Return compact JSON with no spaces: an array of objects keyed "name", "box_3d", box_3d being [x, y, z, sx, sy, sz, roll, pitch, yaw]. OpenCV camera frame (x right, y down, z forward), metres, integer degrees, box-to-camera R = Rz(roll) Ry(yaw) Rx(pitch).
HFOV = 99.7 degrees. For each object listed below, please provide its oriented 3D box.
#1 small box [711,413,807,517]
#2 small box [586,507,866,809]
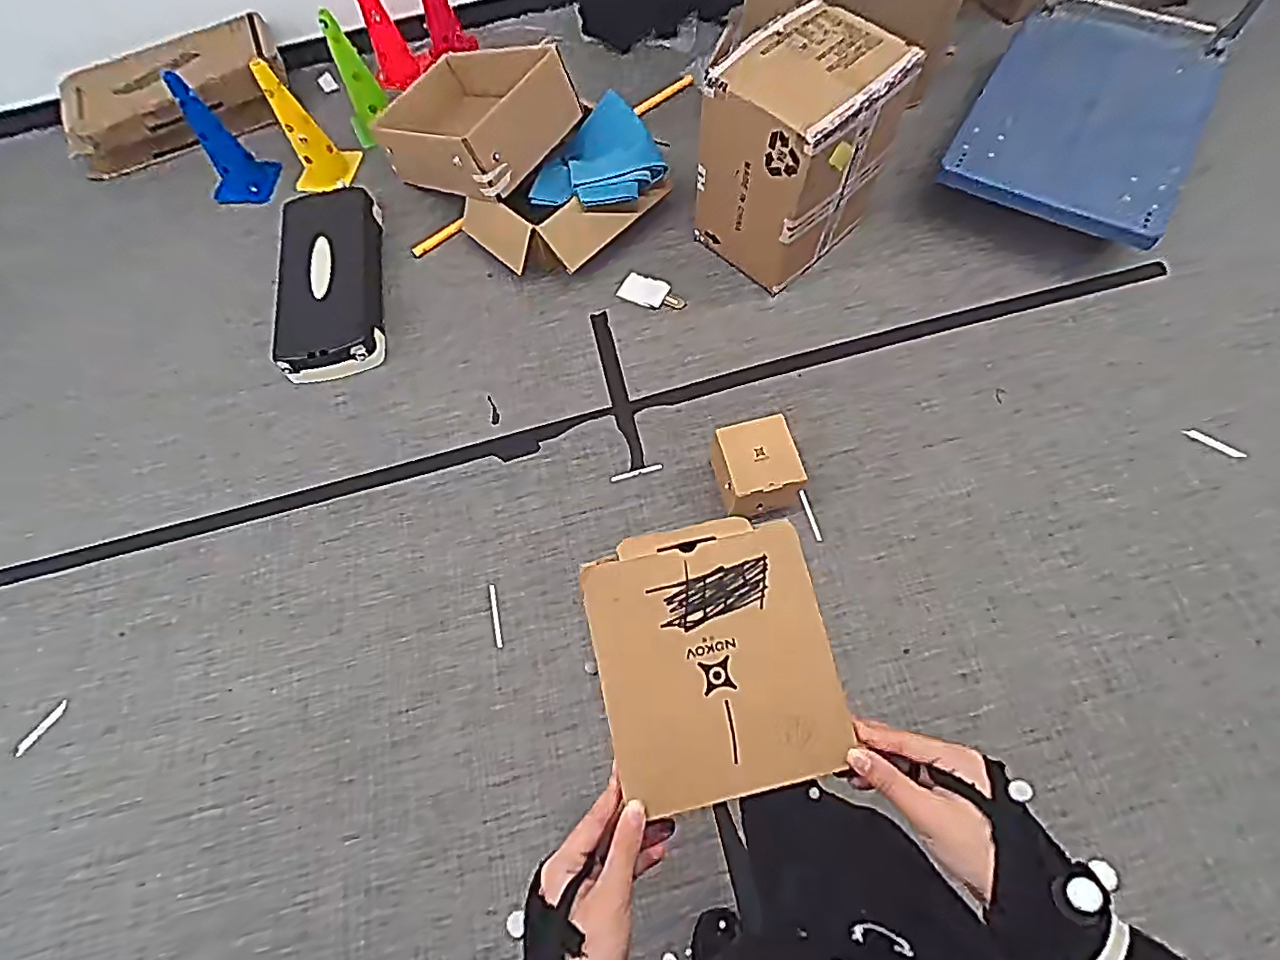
[{"name":"small box","box_3d":[0.275,-0.032,1.298,0.168,0.176,0.179,-14,68,-2]},{"name":"small box","box_3d":[0.053,0.137,0.454,0.168,0.176,0.179,-12,76,-4]}]
